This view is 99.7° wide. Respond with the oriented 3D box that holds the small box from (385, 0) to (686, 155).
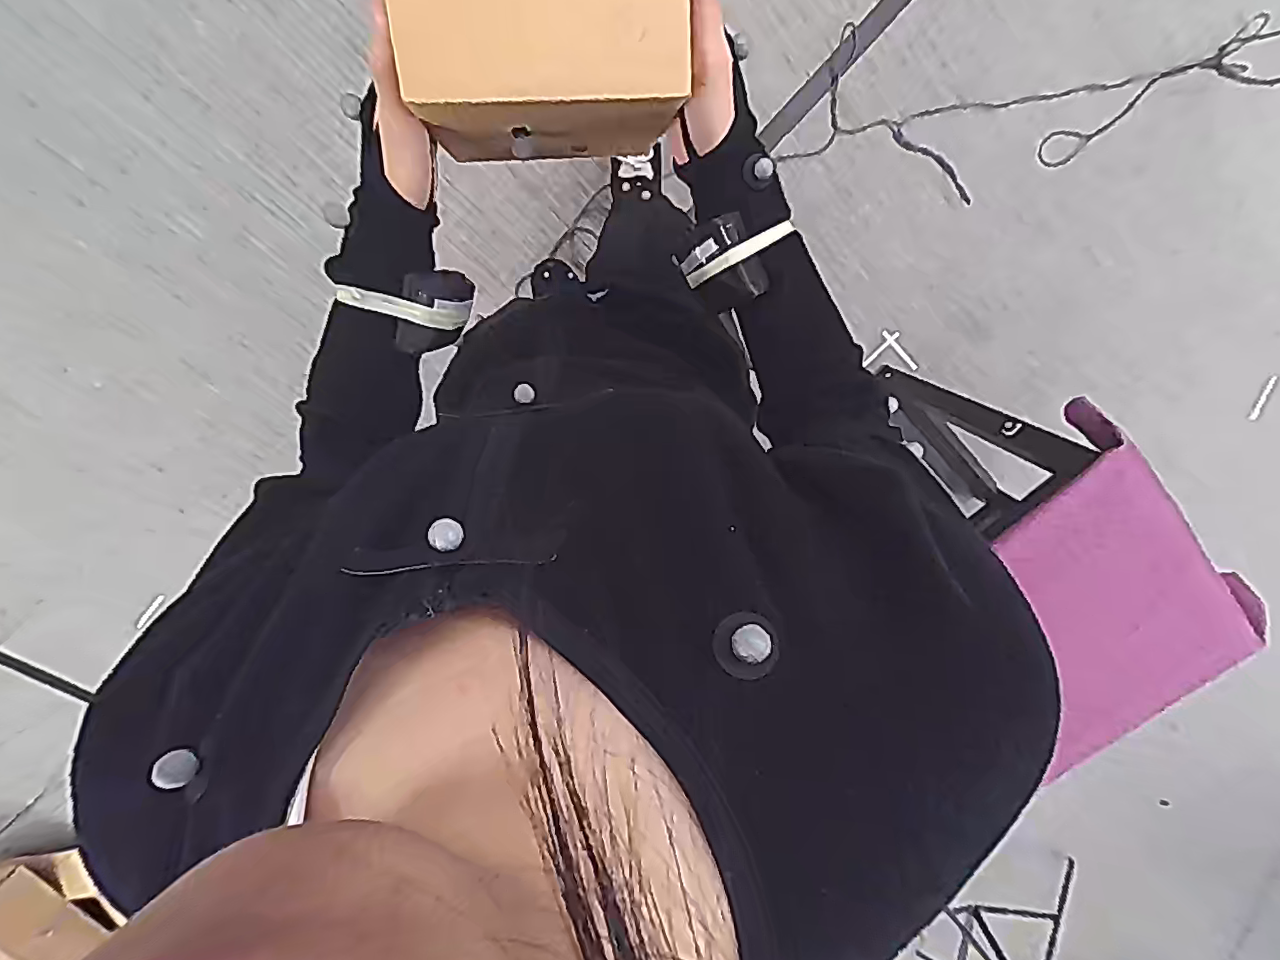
[{"bbox_3d":[-0.066,-0.327,0.354,0.168,0.176,0.179,-6,110,-6],"label":"small box"}]
